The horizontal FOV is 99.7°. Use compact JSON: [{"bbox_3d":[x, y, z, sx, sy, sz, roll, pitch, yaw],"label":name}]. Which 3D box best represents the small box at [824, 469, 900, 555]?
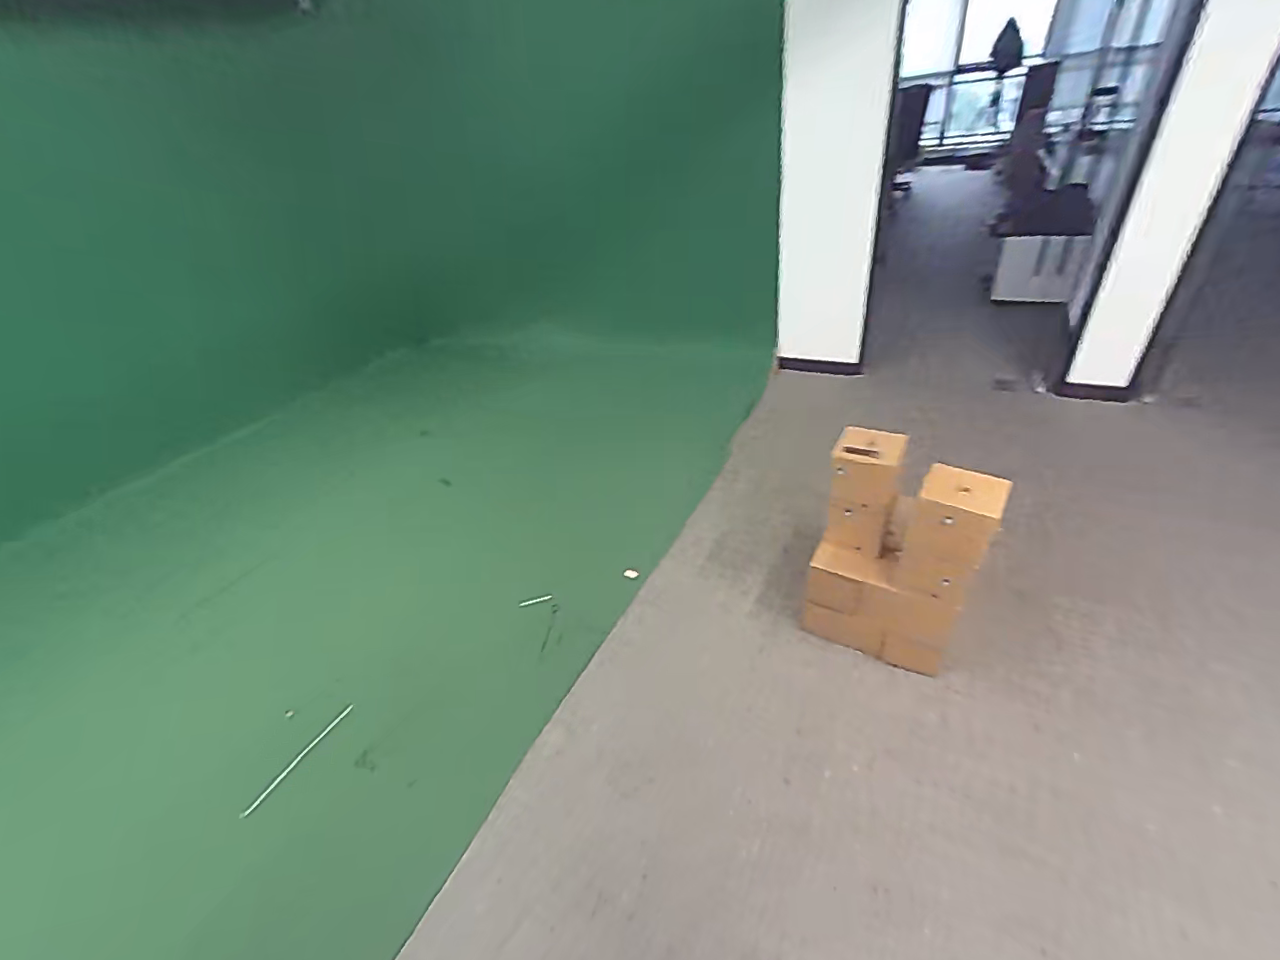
[{"bbox_3d":[0.669,0.096,1.641,0.168,0.176,0.179,16,41,32],"label":"small box"}]

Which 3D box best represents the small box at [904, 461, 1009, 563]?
[{"bbox_3d":[0.789,0.081,1.356,0.179,0.176,0.168,19,44,31],"label":"small box"}]

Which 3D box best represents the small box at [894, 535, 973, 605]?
[{"bbox_3d":[0.802,0.205,1.462,0.168,0.176,0.179,19,43,31],"label":"small box"}]
